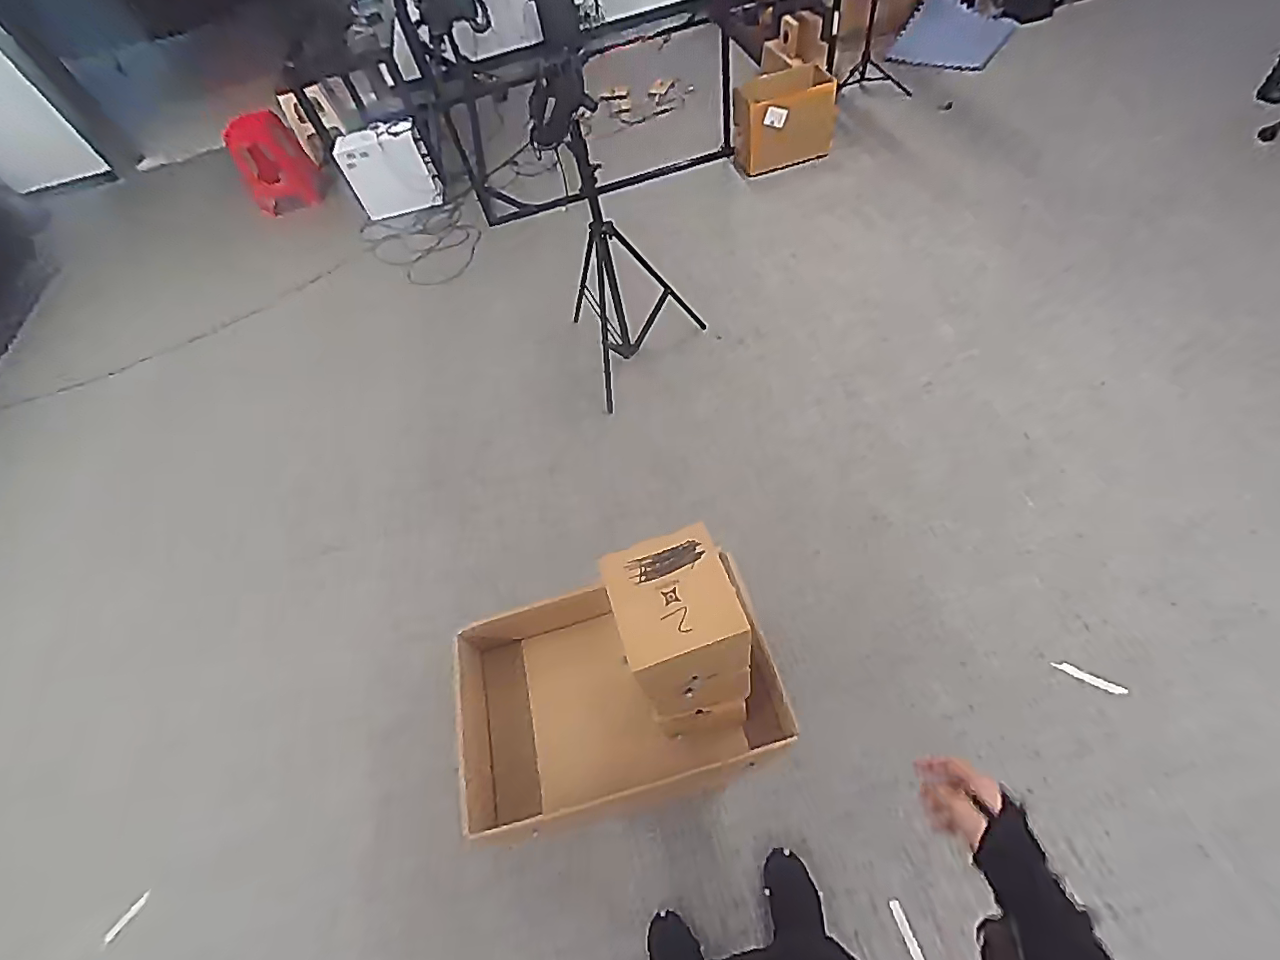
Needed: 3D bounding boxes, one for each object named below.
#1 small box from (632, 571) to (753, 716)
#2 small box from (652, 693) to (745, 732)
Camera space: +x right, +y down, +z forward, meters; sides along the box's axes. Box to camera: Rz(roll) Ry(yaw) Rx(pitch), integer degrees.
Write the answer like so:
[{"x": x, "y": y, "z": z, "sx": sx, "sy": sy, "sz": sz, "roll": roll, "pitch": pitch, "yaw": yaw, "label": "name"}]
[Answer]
[{"x": 0.090, "y": 0.286, "z": 0.937, "sx": 0.168, "sy": 0.176, "sz": 0.179, "roll": -14, "pitch": 54, "yaw": 1, "label": "small box"}, {"x": 0.109, "y": 0.386, "z": 1.065, "sx": 0.168, "sy": 0.176, "sz": 0.179, "roll": -11, "pitch": 54, "yaw": 3, "label": "small box"}]
